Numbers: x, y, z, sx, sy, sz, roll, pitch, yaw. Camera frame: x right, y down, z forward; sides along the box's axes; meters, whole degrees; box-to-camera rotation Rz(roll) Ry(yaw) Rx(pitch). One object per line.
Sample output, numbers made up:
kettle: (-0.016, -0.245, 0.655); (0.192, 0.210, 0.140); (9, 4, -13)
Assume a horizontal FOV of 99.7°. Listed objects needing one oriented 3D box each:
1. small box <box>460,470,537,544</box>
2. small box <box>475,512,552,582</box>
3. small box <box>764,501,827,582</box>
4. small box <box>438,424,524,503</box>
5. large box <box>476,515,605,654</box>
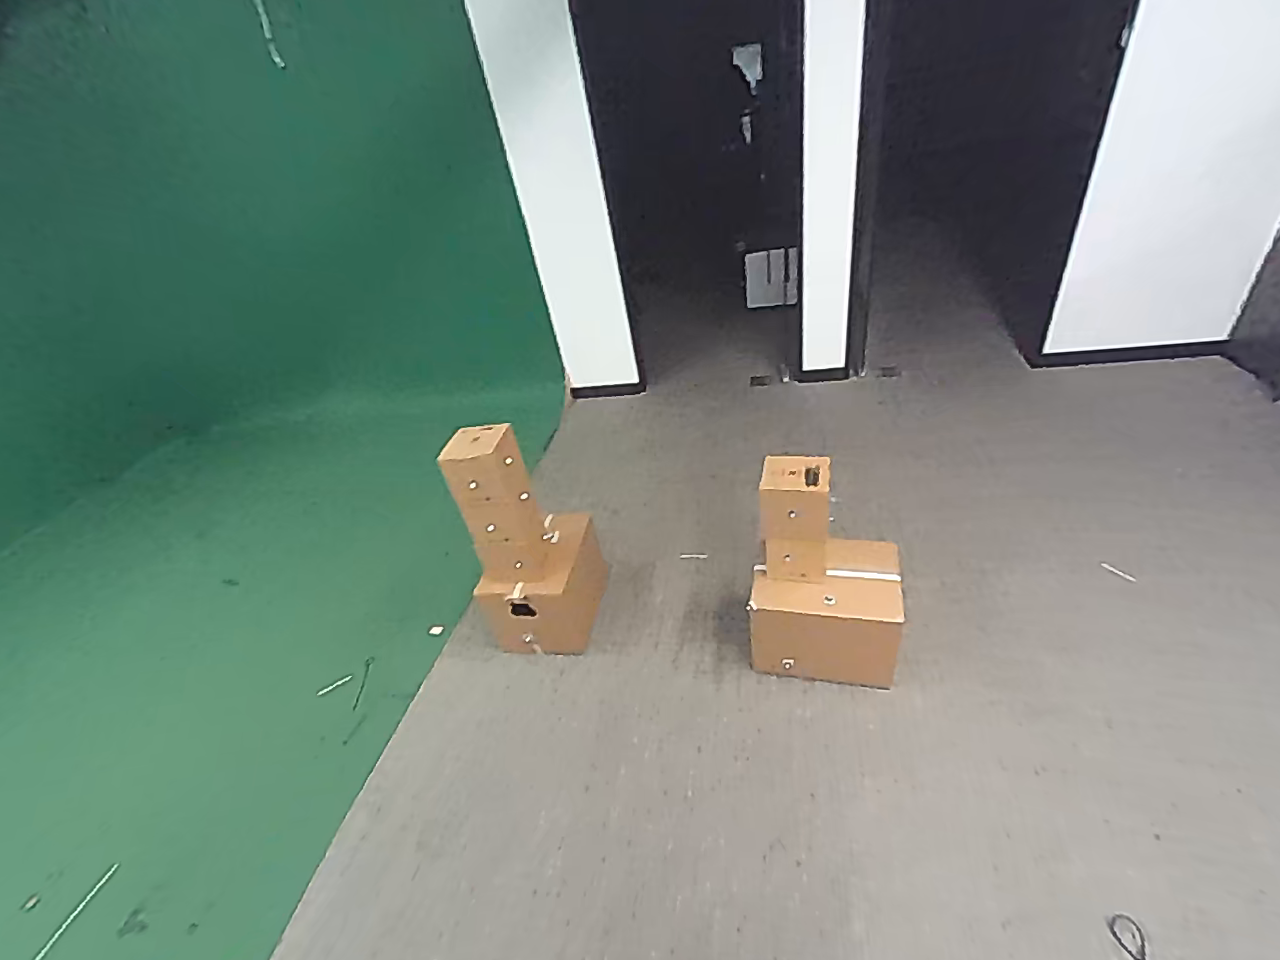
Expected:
small box: (-0.434, 0.088, 1.695); (0.168, 0.176, 0.179); (-5, 35, 9)
small box: (-0.408, 0.224, 1.784); (0.179, 0.176, 0.168); (-4, 35, 13)
small box: (0.462, 0.181, 1.591); (0.168, 0.176, 0.179); (2, 35, 18)
small box: (-0.460, -0.044, 1.600); (0.168, 0.176, 0.179); (-4, 36, 11)
large box: (-0.339, 0.377, 1.974); (0.320, 0.320, 0.408); (-2, 35, 13)
